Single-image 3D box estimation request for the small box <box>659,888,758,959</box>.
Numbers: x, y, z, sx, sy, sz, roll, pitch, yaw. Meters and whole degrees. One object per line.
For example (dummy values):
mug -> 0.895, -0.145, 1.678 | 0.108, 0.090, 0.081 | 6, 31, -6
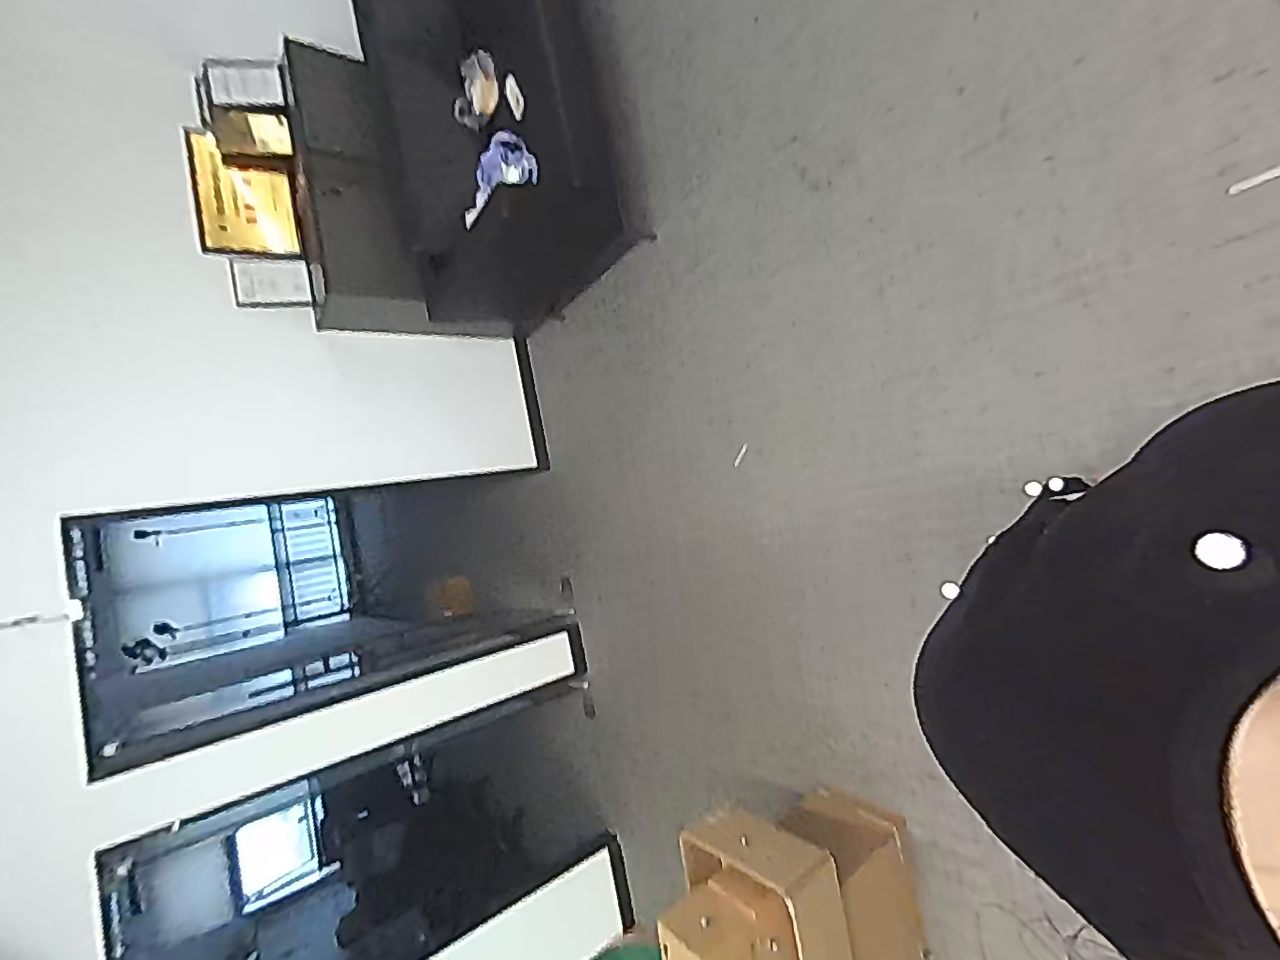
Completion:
small box -> 0.173, 1.145, 1.310 | 0.179, 0.176, 0.168 | -10, 87, 52
